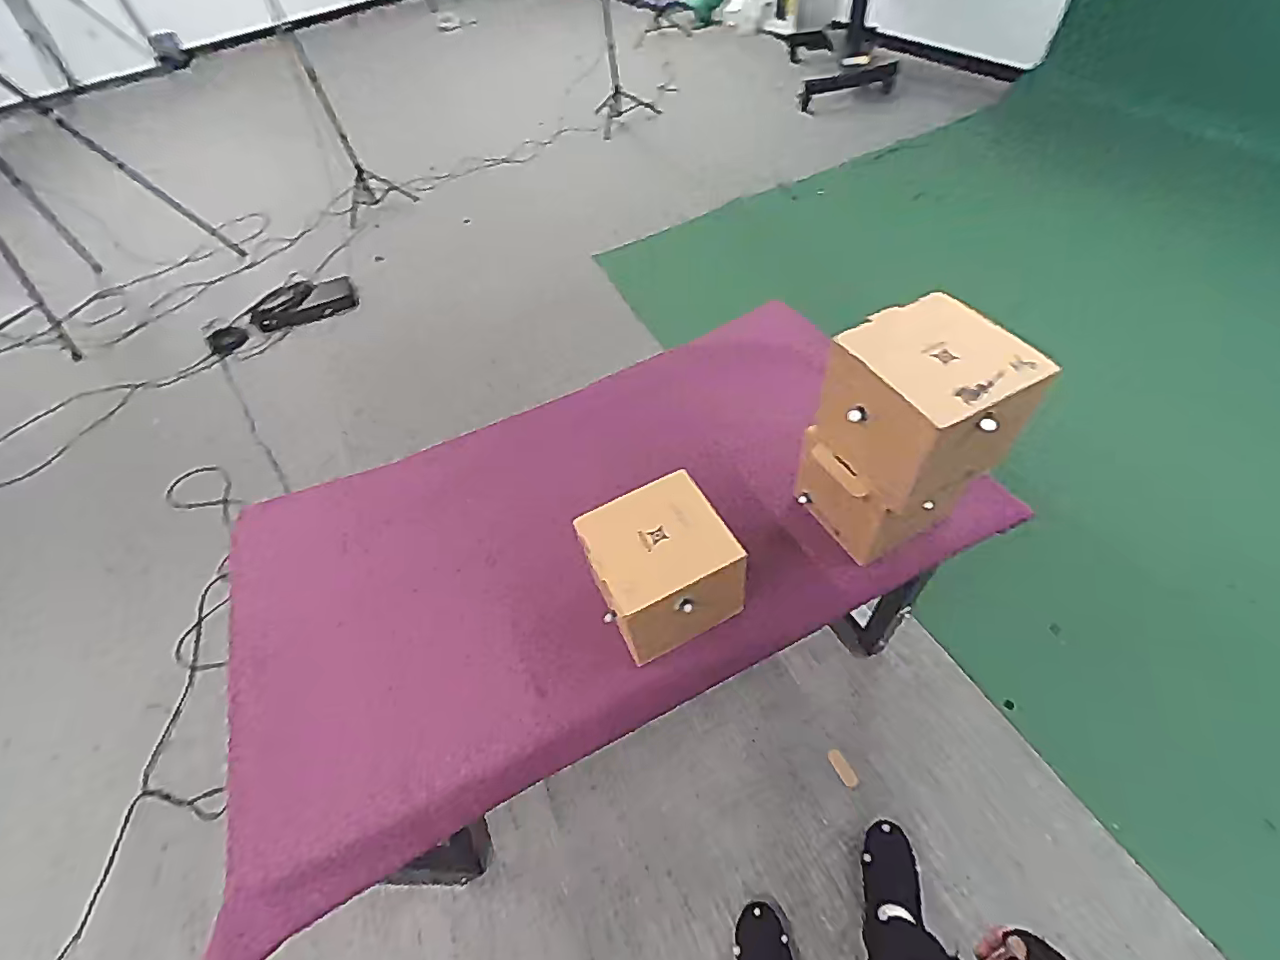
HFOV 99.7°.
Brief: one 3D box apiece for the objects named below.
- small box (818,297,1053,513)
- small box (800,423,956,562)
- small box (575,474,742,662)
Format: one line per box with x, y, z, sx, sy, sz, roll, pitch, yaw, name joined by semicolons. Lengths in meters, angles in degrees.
0.346;-0.091;0.677;0.168;0.176;0.179;-26;53;-9;small box
0.360;-0.006;0.818;0.179;0.176;0.168;-27;54;-12;small box
0.031;0.129;0.768;0.179;0.176;0.168;-25;52;-10;small box
